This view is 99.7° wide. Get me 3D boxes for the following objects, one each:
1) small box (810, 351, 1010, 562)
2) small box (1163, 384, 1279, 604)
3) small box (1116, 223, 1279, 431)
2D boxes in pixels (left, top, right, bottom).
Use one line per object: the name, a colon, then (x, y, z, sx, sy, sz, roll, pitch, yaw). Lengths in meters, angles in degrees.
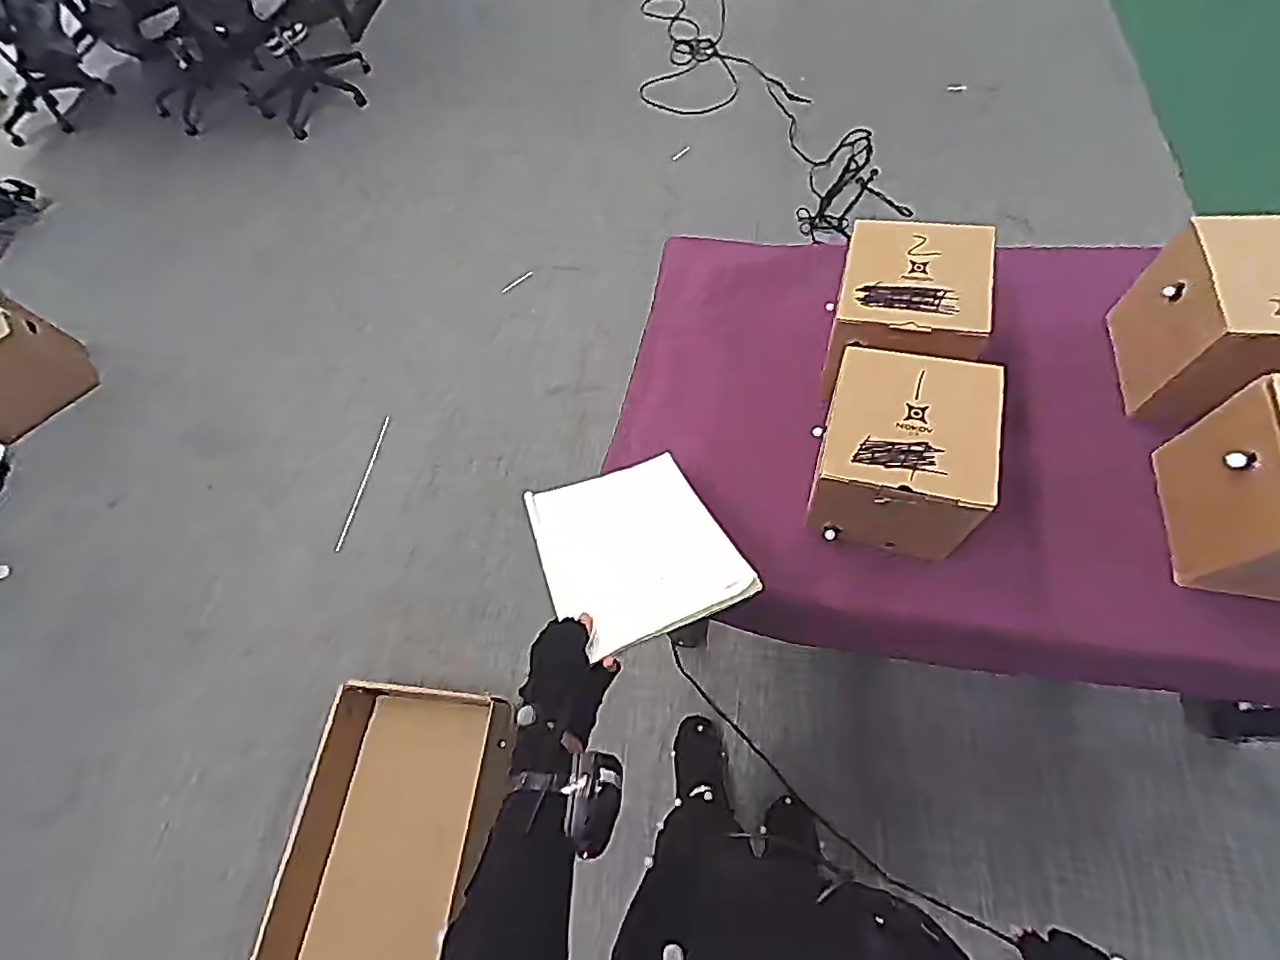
small box: (0.305, -0.021, 0.639, 0.168, 0.176, 0.179, 13, 66, 16)
small box: (0.687, 0.029, 0.546, 0.168, 0.176, 0.179, 9, 67, 15)
small box: (0.712, -0.173, 0.640, 0.168, 0.176, 0.179, 7, 66, 13)
